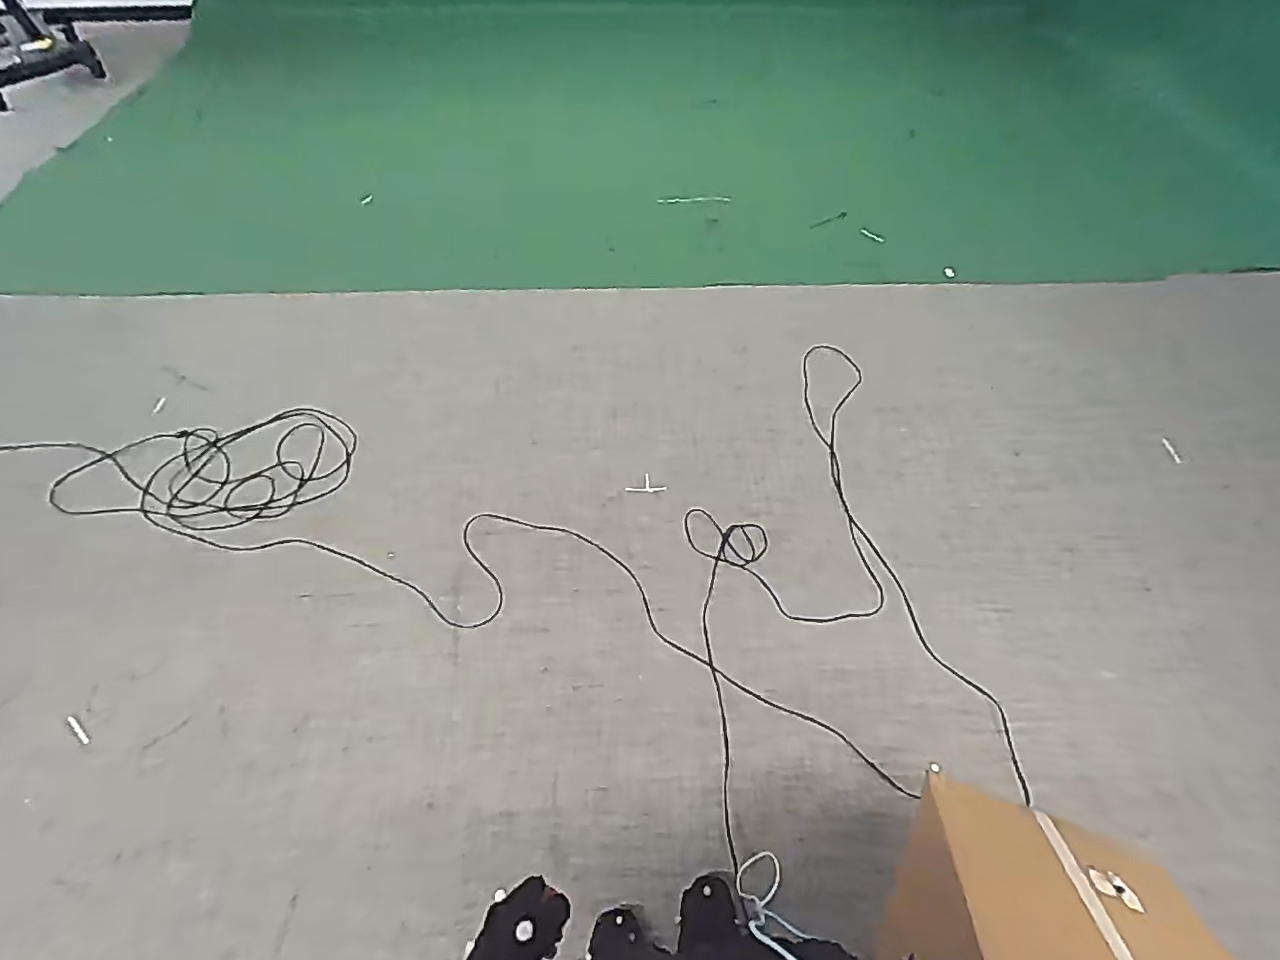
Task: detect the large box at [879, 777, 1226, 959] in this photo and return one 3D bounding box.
[{"bbox_3d":[0.509,0.675,0.669,0.320,0.408,0.320,16,97,19],"label":"large box"}]
